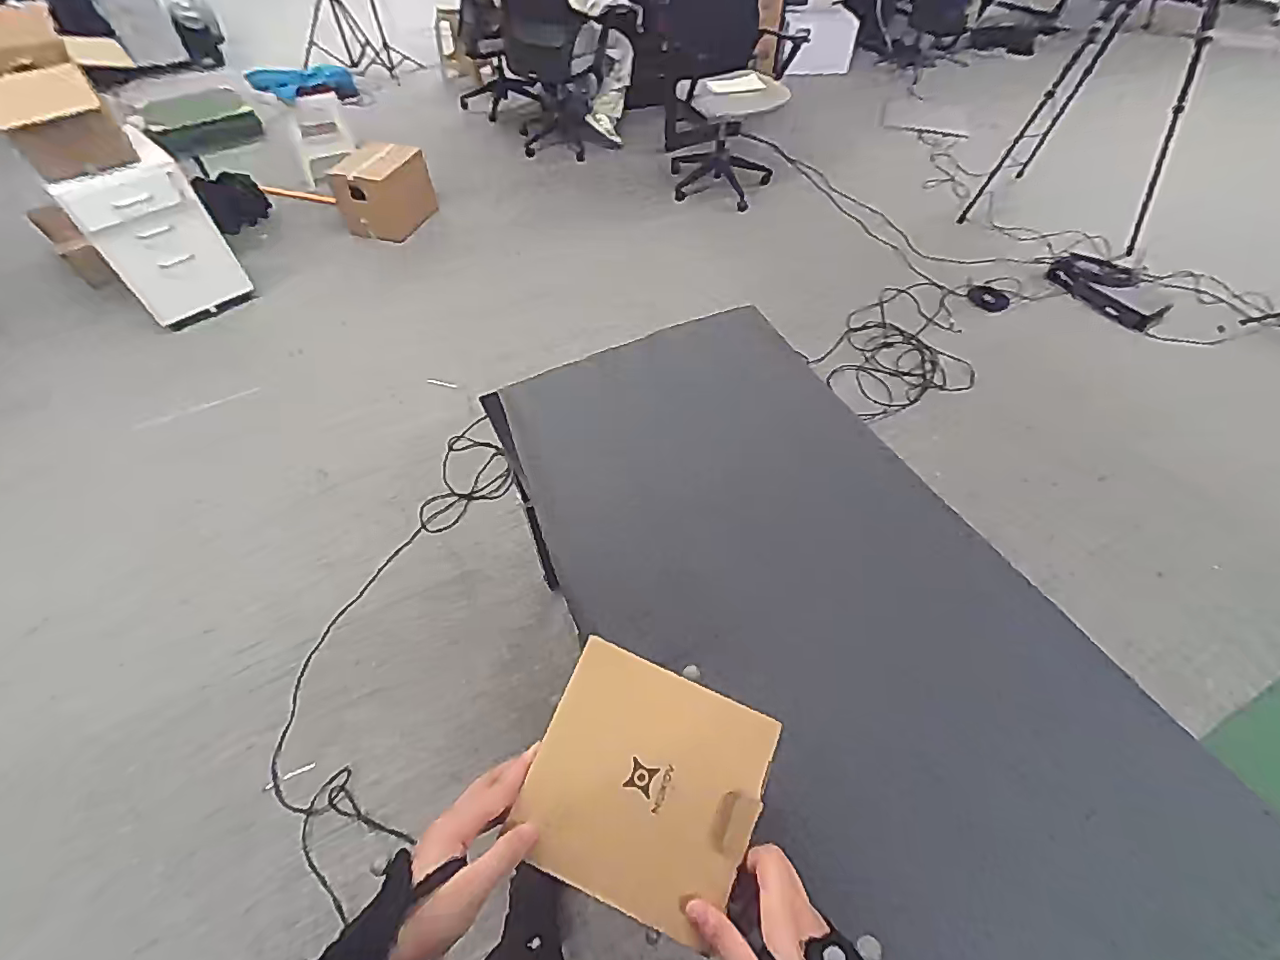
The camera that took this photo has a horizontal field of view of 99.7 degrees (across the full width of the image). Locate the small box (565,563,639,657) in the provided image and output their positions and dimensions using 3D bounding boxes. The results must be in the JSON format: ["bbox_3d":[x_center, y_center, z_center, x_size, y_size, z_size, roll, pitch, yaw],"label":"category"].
[{"bbox_3d":[-0.103,0.358,1.485,0.168,0.176,0.179,-13,52,-9],"label":"small box"}]

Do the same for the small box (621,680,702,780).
[{"bbox_3d":[0.048,0.602,1.290,0.168,0.176,0.179,-6,51,-5],"label":"small box"}]

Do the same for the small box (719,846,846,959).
[{"bbox_3d":[0.271,0.867,1.078,0.168,0.176,0.179,-19,55,-13],"label":"small box"}]
